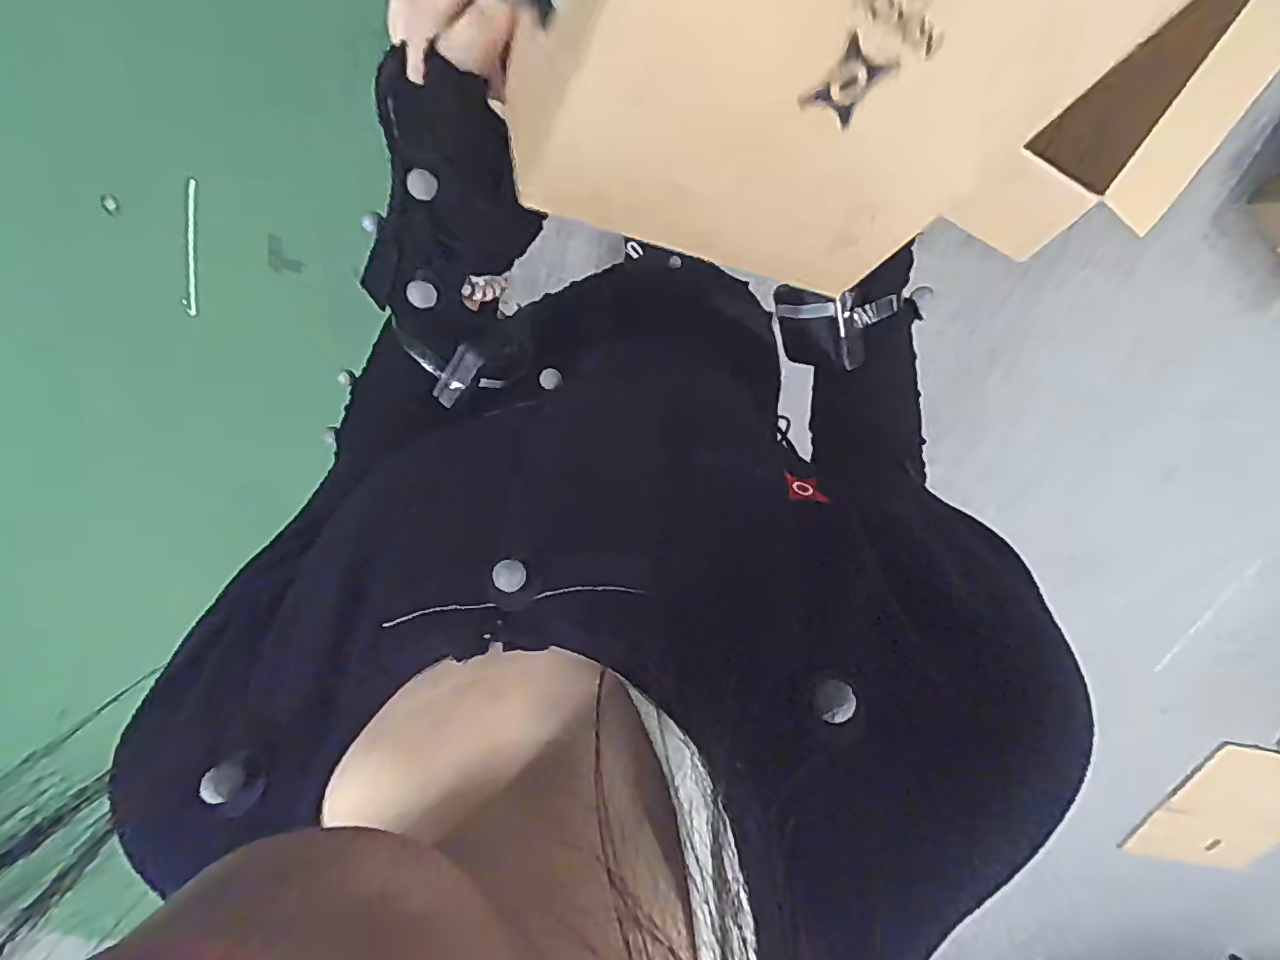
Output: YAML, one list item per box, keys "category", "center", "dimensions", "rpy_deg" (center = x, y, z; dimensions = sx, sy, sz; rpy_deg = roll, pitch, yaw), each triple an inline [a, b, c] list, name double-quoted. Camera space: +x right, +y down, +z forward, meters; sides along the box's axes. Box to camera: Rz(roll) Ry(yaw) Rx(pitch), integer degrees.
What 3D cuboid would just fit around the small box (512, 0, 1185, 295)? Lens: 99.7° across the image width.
- category: "small box"
  center: [0.056, -0.206, 0.203]
  dimensions: [0.168, 0.176, 0.179]
  rpy_deg: [0, 157, -31]
